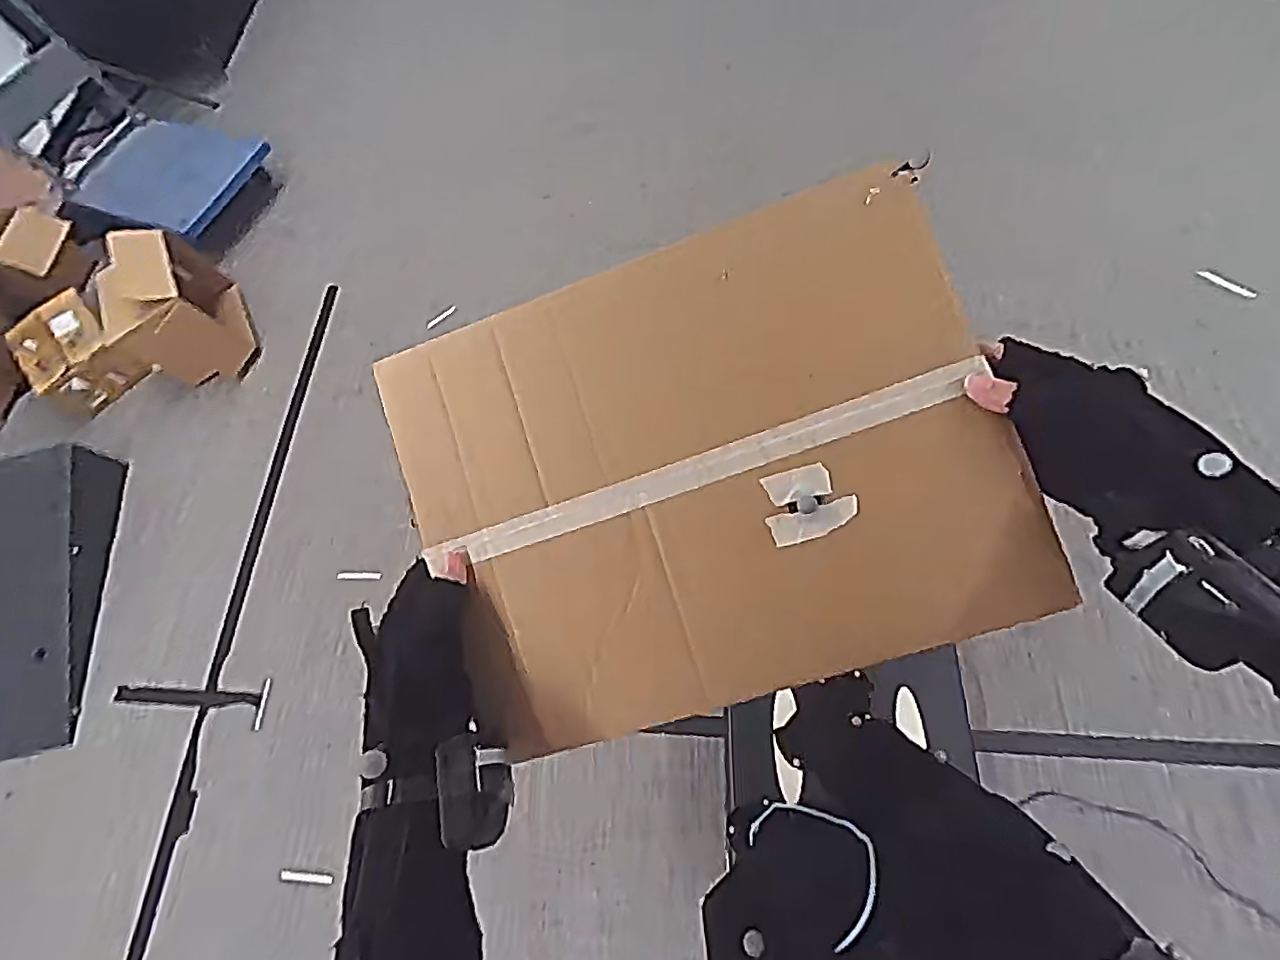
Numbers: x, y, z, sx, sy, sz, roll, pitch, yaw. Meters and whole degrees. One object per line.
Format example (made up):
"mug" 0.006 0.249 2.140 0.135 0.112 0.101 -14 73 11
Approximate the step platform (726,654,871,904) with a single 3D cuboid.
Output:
"step platform" 0.352 0.593 1.307 0.286 0.204 0.684 -3 66 9

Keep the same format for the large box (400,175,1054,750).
"large box" 0.060 0.001 0.537 0.408 0.320 0.320 -19 86 7
